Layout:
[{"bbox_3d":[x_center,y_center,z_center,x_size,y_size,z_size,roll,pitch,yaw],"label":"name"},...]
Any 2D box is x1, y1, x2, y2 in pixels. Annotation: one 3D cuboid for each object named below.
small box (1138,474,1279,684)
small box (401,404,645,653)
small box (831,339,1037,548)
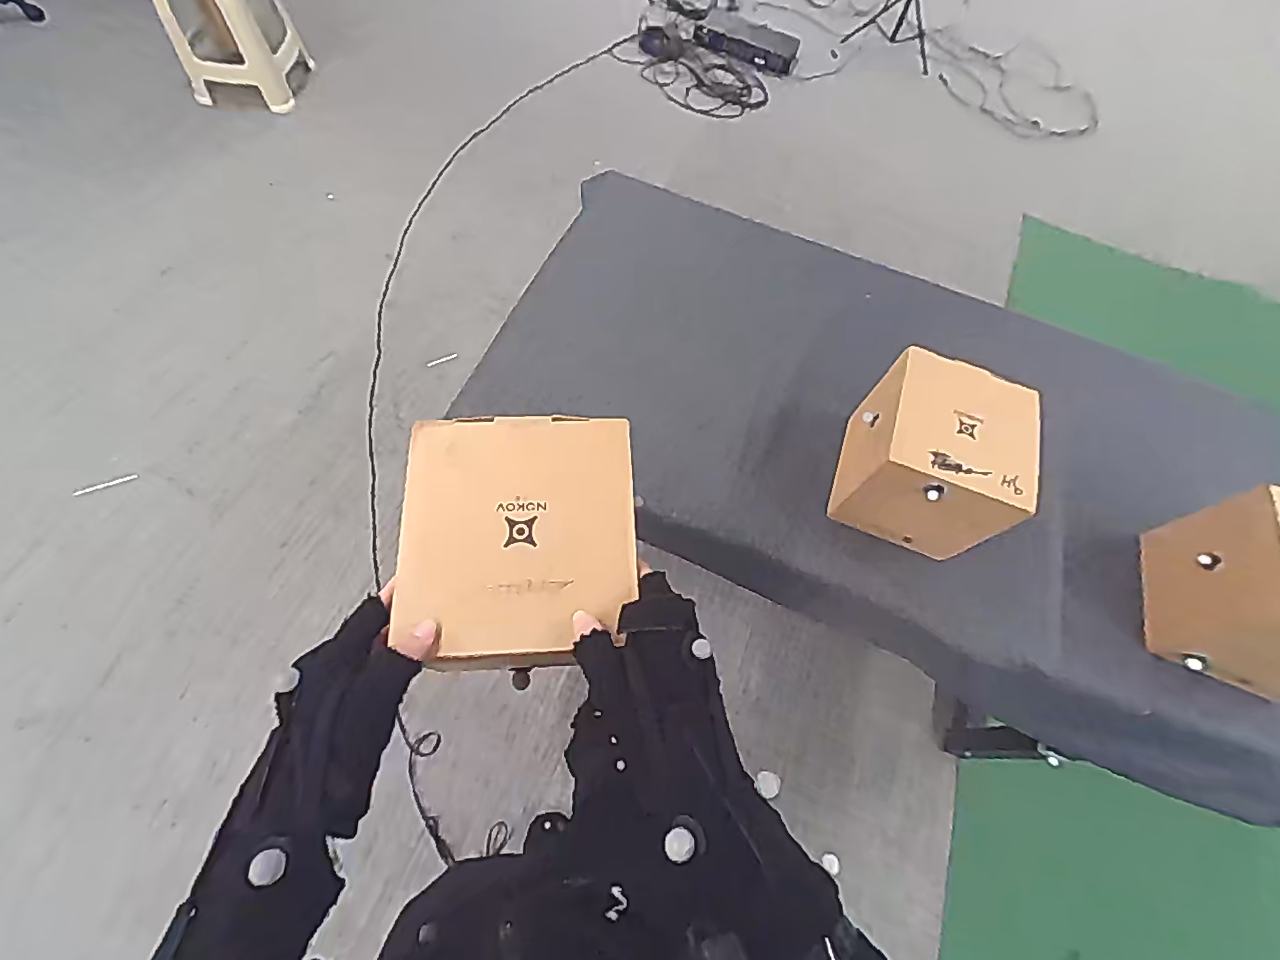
[{"bbox_3d":[0.756,0.128,0.653,0.168,0.176,0.179,22,63,5],"label":"small box"},{"bbox_3d":[-0.089,0.050,0.467,0.168,0.176,0.179,-2,70,-6],"label":"small box"},{"bbox_3d":[0.365,-0.039,0.692,0.168,0.176,0.179,21,63,4],"label":"small box"}]
